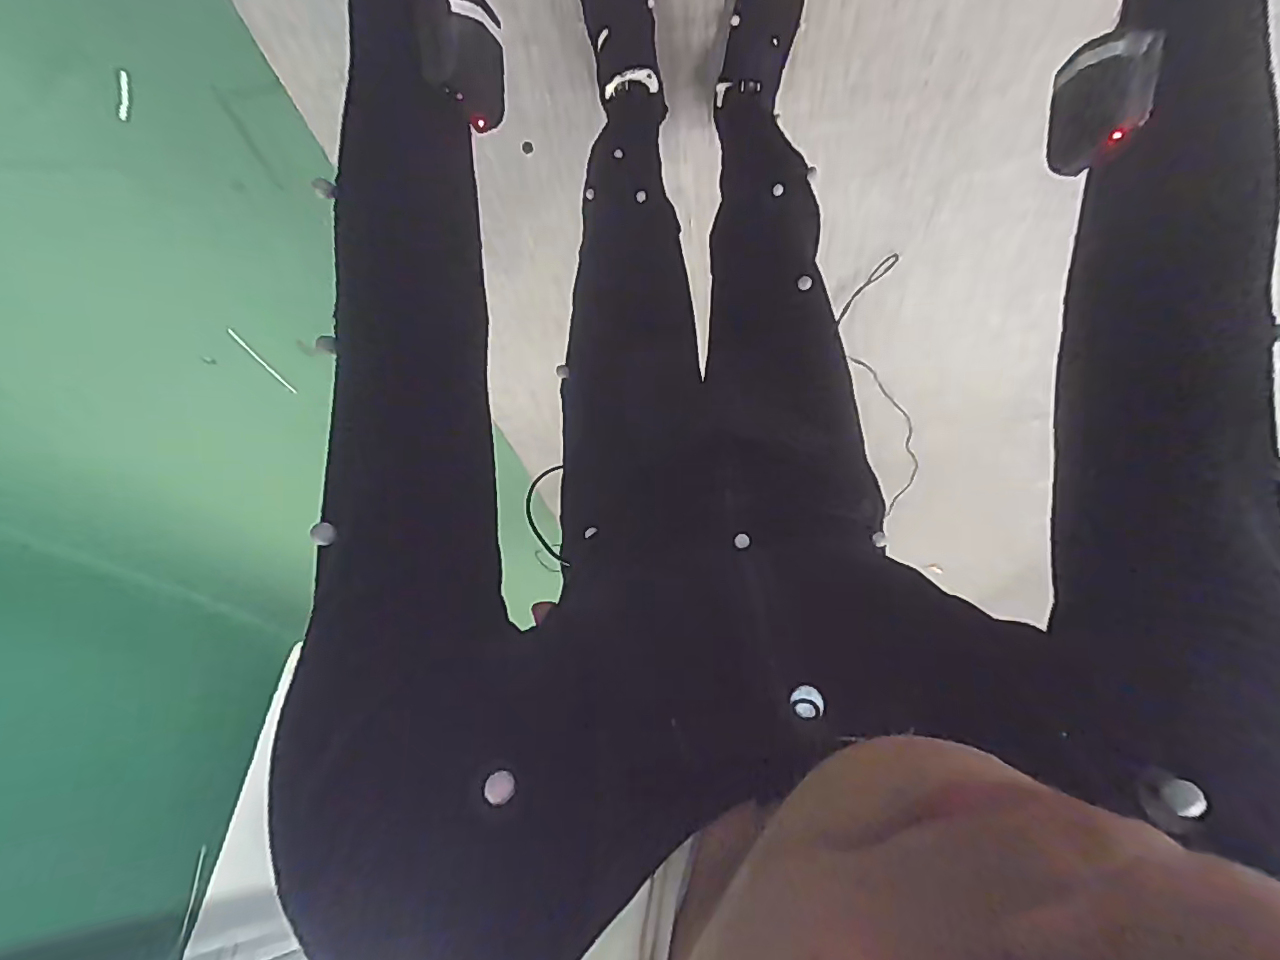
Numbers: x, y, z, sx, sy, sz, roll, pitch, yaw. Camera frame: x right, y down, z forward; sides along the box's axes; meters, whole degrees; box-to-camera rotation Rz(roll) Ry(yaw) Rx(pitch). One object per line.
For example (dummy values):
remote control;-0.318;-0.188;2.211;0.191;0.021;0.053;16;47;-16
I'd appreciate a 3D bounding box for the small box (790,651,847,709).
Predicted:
small box;0.639;0.725;1.952;0.168;0.176;0.179;-3;149;9
